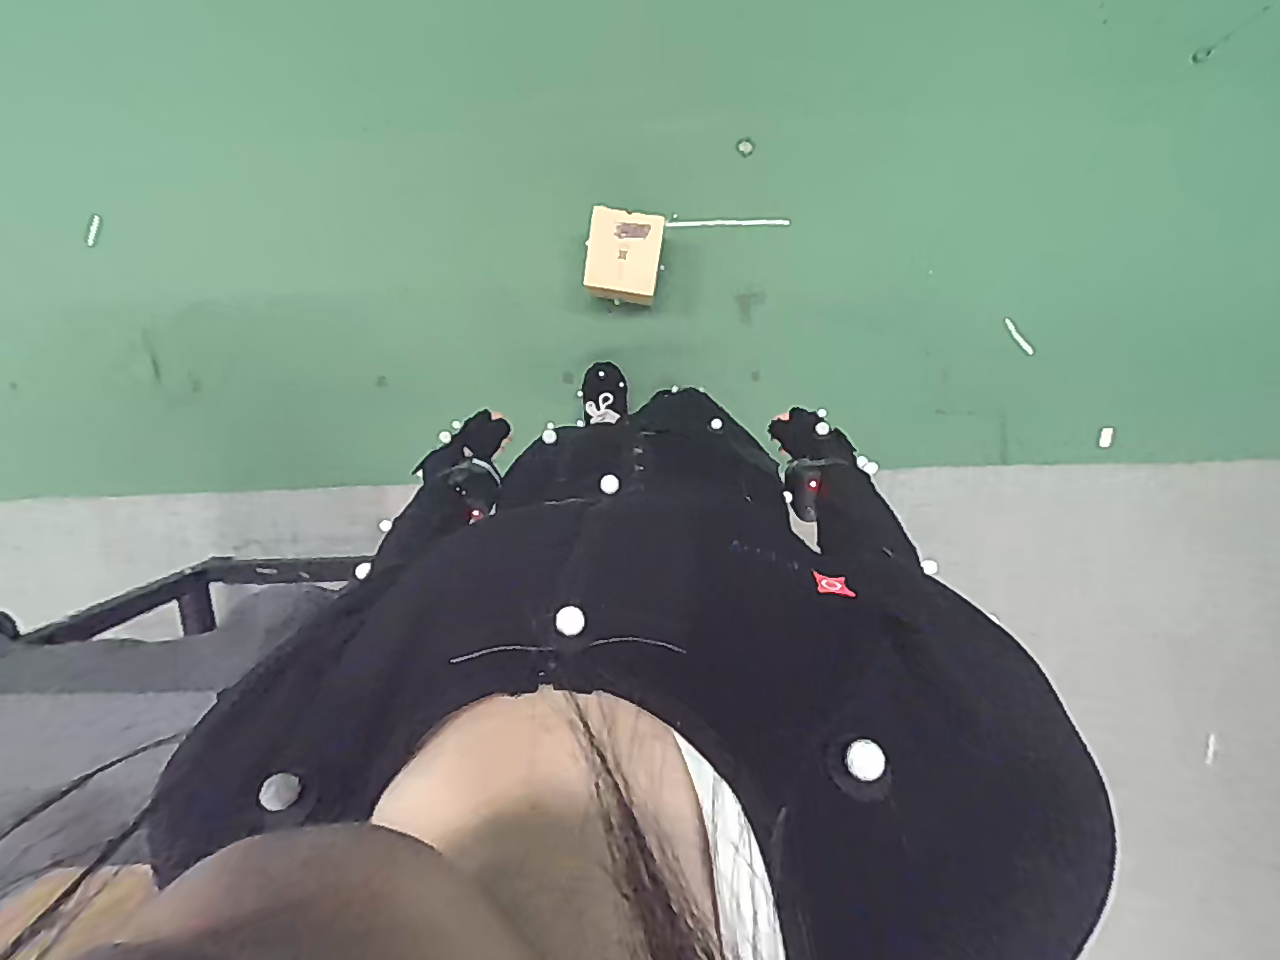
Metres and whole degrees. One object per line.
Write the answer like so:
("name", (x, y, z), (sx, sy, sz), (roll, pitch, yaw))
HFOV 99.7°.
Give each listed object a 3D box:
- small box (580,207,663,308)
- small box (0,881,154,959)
("small box", (-0.043, -0.525, 1.295), (0.168, 0.176, 0.179), (9, 101, -1))
("small box", (-0.839, 0.706, 0.761), (0.179, 0.176, 0.168), (-5, 100, 0))
